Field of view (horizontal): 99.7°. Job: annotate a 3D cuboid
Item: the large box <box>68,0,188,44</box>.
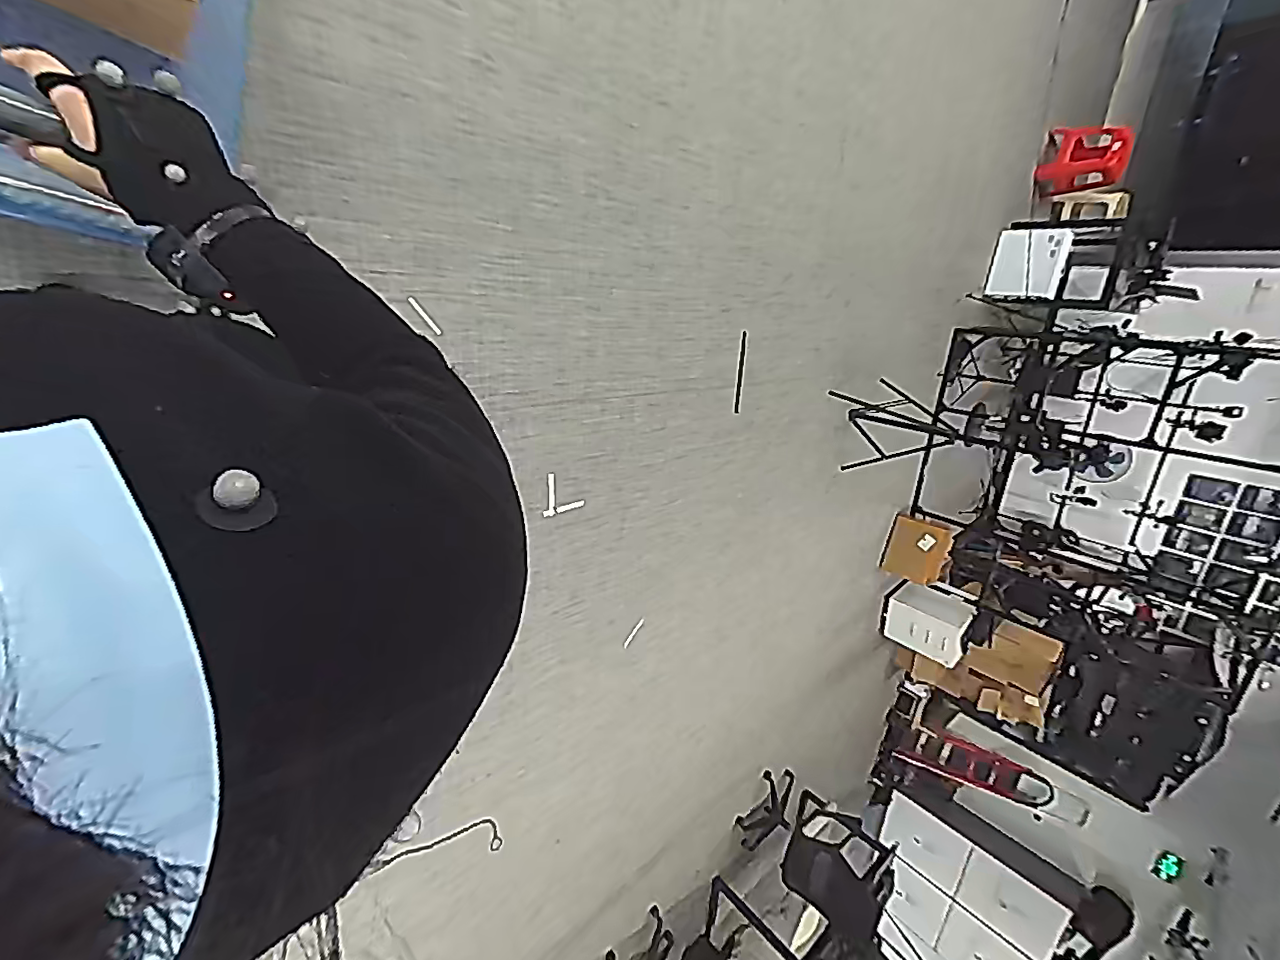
[{"bbox_3d":[-0.780,-0.820,0.626,0.408,0.320,0.320,4,103,-44],"label":"large box"}]
